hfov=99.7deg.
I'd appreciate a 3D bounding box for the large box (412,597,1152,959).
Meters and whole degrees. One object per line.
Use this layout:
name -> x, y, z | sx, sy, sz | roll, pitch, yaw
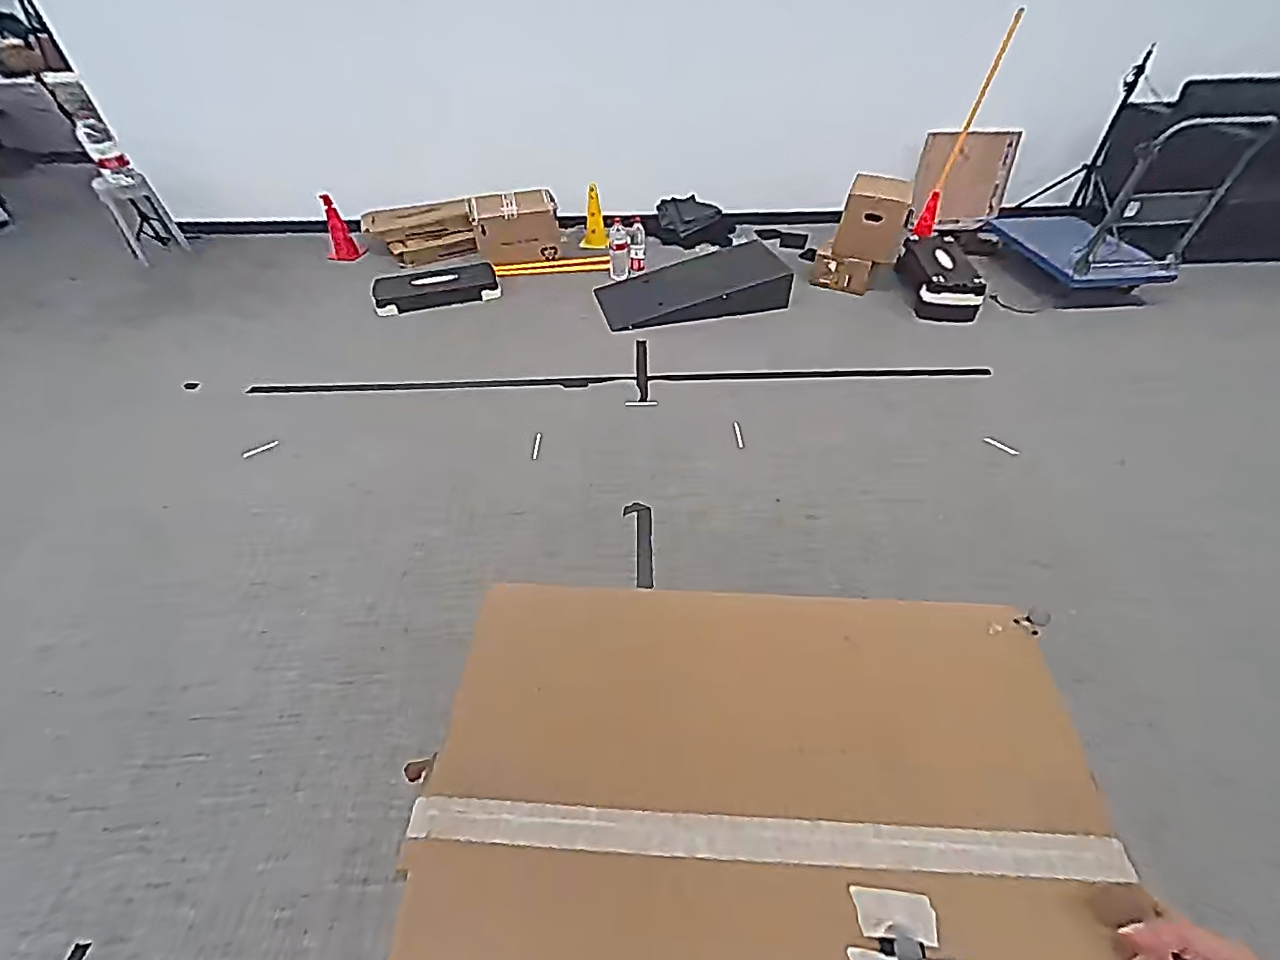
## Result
large box -> 0.076, 0.309, 0.439 | 0.408, 0.320, 0.320 | 2, 52, 2
